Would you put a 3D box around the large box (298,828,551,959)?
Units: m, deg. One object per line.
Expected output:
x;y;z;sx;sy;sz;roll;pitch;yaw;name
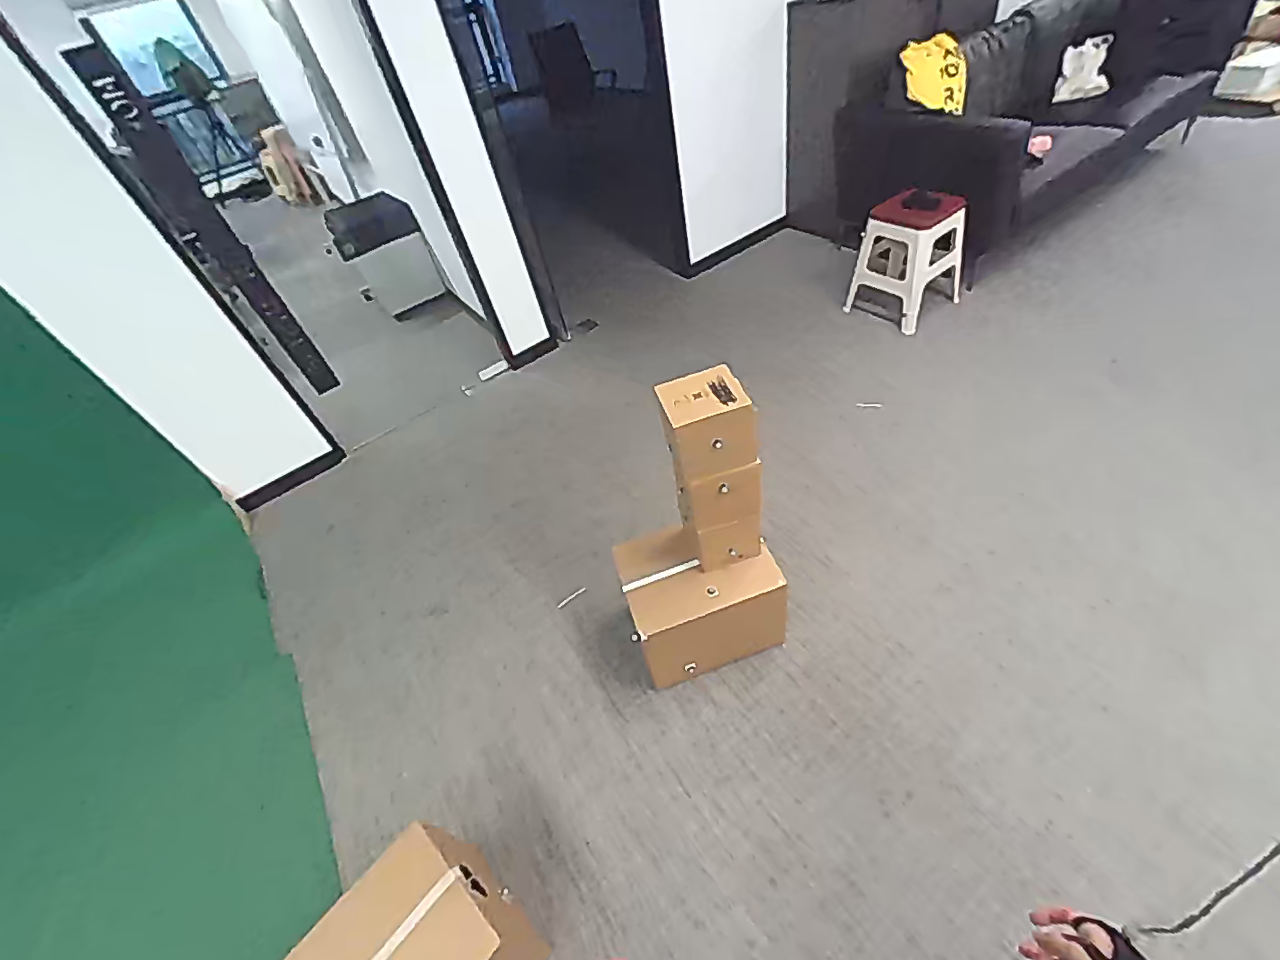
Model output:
-0.454;1.012;1.078;0.320;0.320;0.408;27;59;35;large box

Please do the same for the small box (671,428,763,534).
0.190;0.005;1.326;0.179;0.176;0.168;-18;43;-2;small box

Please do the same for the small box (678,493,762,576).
0.213;0.122;1.436;0.168;0.176;0.179;-19;43;-4;small box
